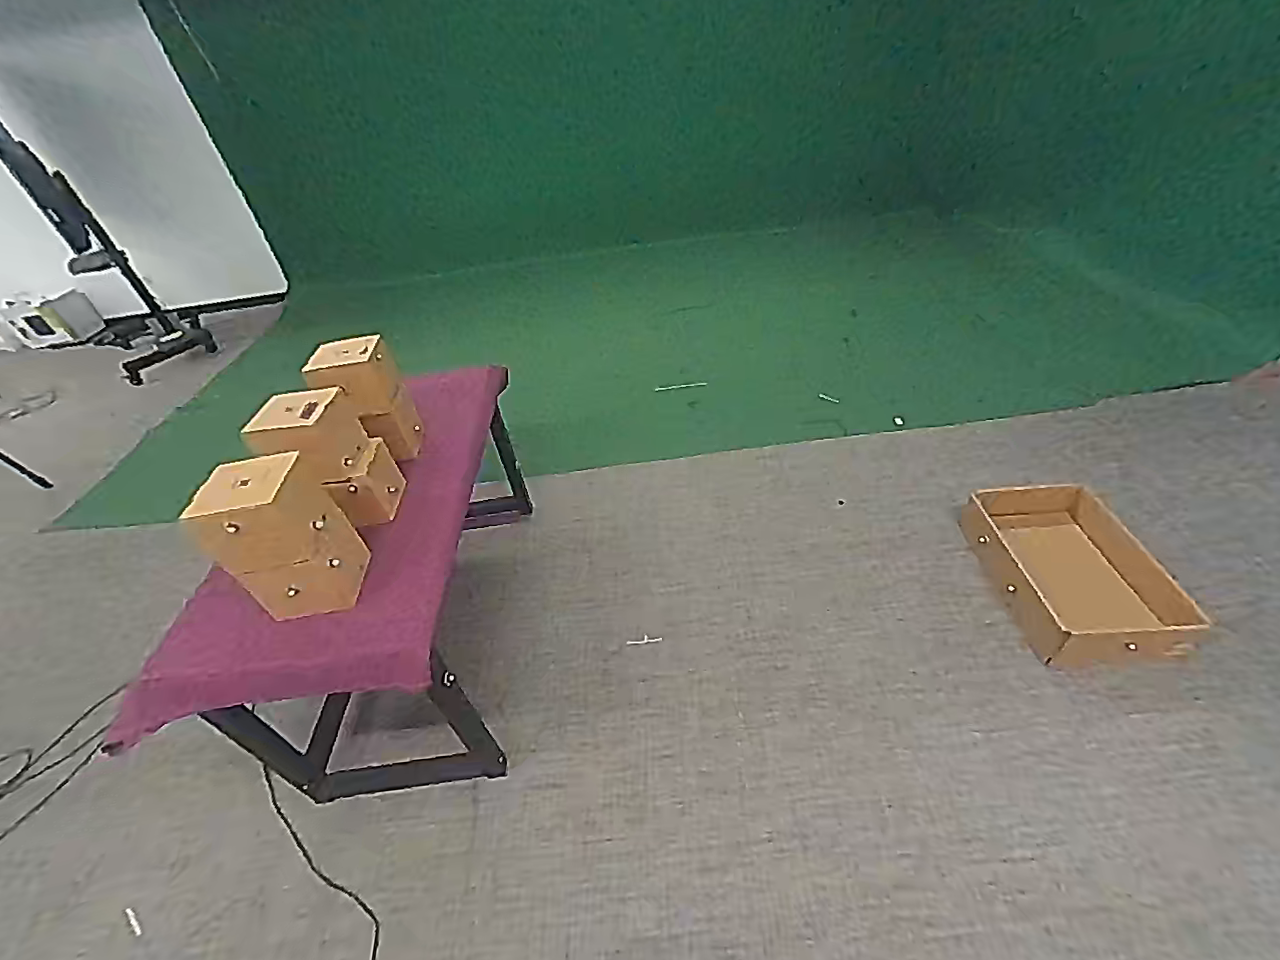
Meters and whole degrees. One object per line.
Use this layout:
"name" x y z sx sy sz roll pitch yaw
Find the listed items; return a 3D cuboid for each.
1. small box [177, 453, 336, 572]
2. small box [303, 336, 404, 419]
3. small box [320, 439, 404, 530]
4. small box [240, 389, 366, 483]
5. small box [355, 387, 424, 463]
"small box" -0.770 0.070 1.109 0.179 0.176 0.168 -10 40 -1
"small box" -0.799 -0.281 1.526 0.179 0.176 0.168 -11 41 -1
"small box" -0.758 0.015 1.430 0.179 0.176 0.168 -8 40 -1
"small box" -0.806 -0.101 1.319 0.179 0.176 0.168 -6 40 3
"small box" -0.779 -0.157 1.631 0.179 0.176 0.168 -10 41 -1
